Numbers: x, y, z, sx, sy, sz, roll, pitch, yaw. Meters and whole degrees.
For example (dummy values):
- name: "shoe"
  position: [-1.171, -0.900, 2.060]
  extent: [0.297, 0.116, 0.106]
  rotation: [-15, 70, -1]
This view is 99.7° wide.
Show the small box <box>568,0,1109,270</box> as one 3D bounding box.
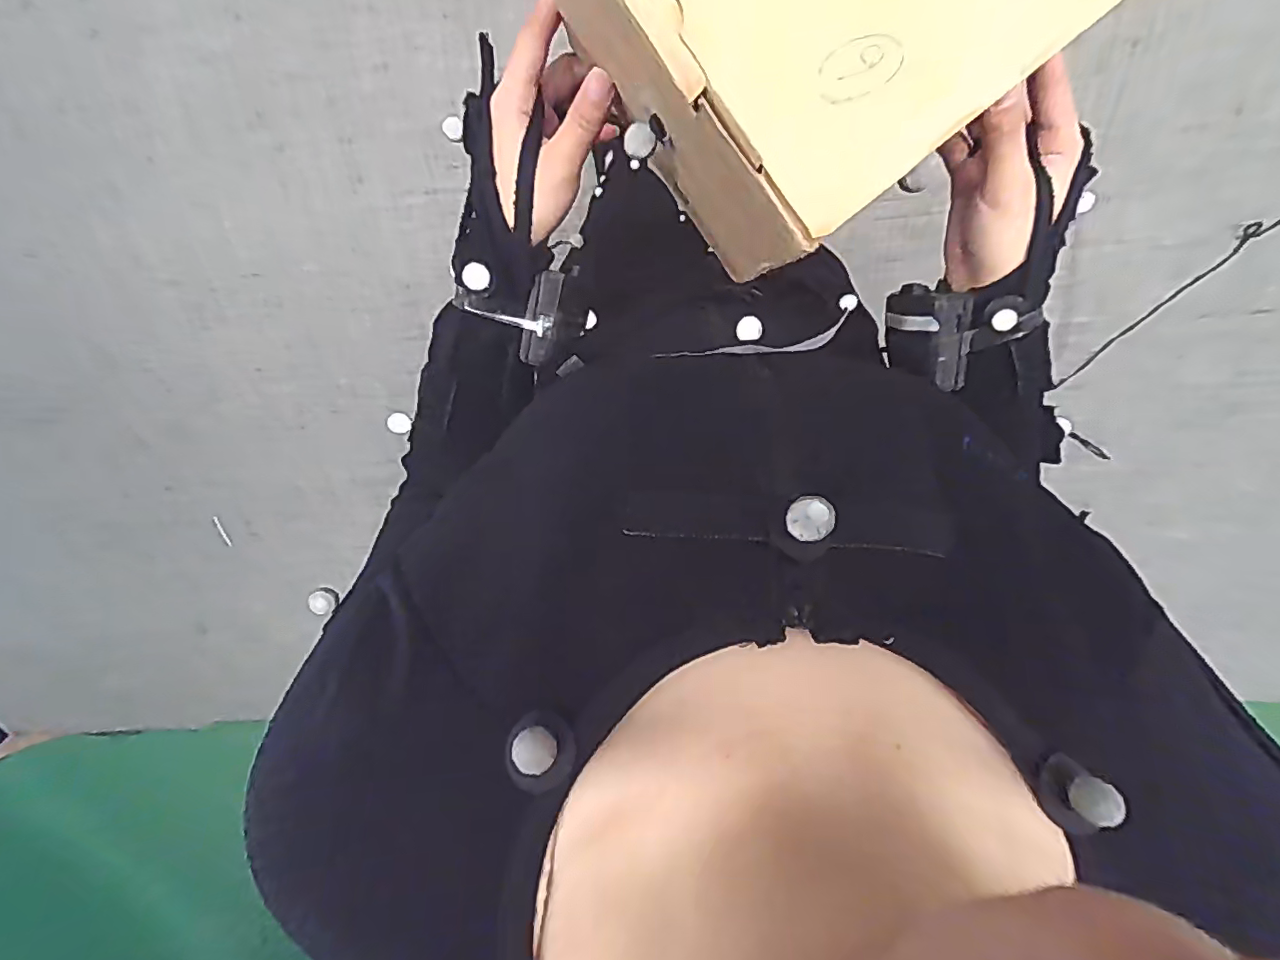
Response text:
- name: "small box"
  position: [0.074, -0.210, 0.224]
  extent: [0.179, 0.176, 0.168]
  rotation: [-36, 101, 13]
